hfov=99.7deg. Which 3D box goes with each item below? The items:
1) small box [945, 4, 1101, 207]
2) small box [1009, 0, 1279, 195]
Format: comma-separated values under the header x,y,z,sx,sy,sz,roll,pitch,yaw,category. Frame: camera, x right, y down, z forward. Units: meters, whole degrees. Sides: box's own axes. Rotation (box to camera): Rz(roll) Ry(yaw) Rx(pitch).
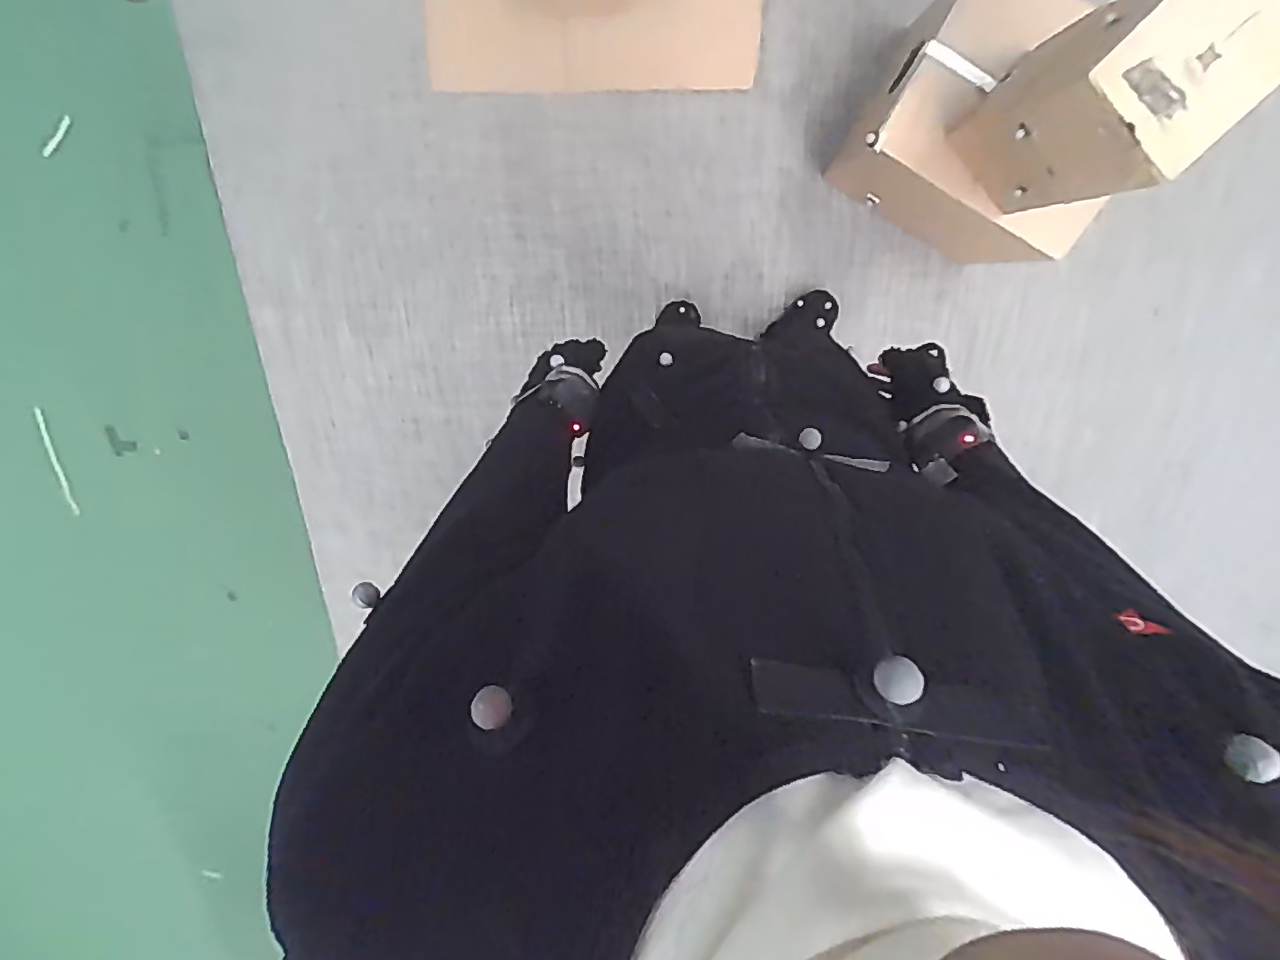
x,y,z,sx,sy,sz,roll,pitch,yaw,category
0.618,-0.546,0.825,0.179,0.176,0.168,42,106,-10,small box
0.606,-0.488,0.671,0.168,0.176,0.179,39,108,-11,small box
